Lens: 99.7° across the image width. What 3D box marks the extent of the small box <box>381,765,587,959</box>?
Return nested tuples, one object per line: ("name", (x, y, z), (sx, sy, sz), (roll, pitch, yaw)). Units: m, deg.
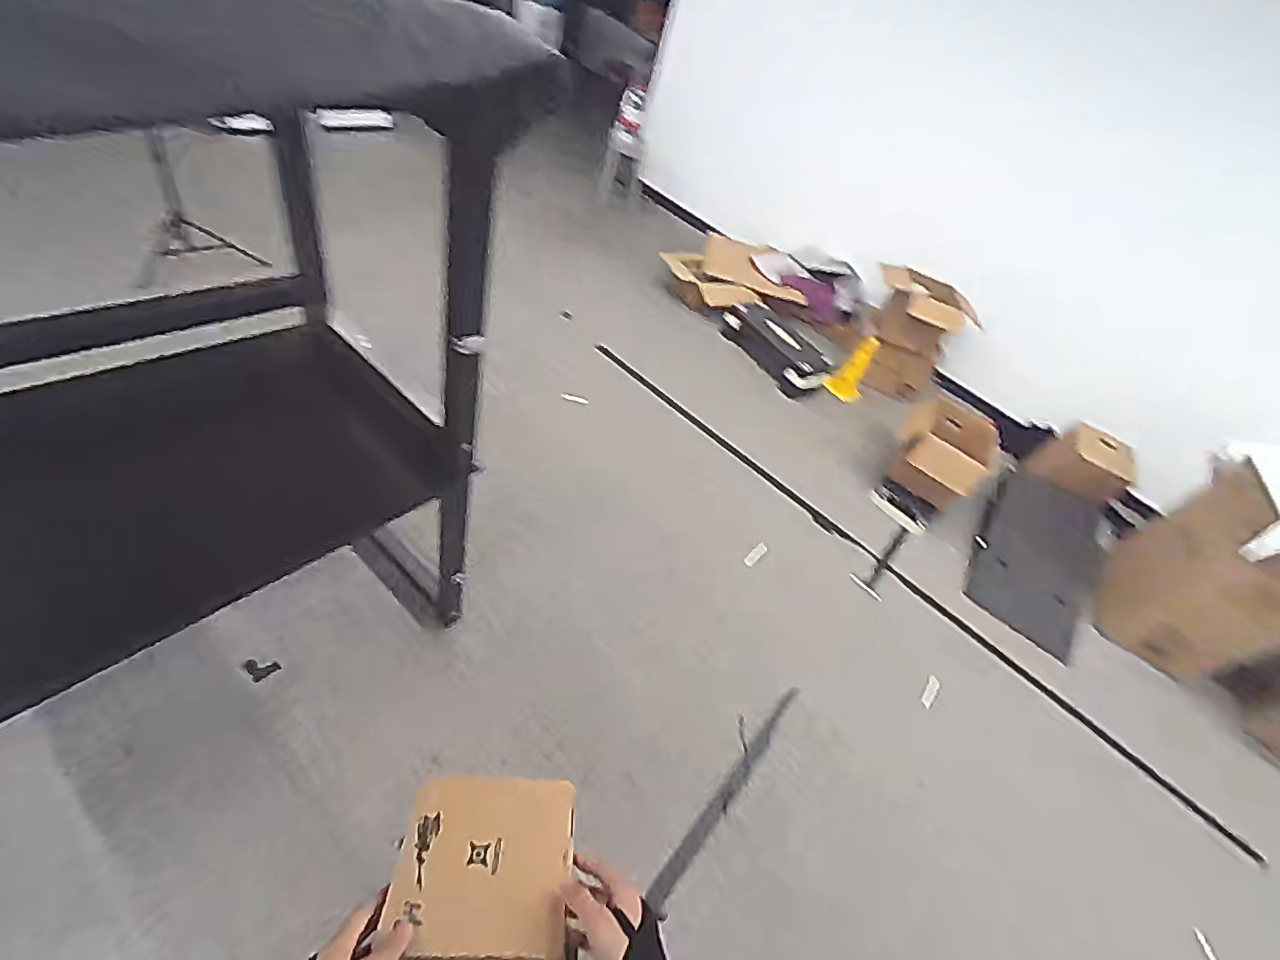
("small box", (-0.163, 0.451, 0.600), (0.179, 0.176, 0.168), (9, 31, -6))
